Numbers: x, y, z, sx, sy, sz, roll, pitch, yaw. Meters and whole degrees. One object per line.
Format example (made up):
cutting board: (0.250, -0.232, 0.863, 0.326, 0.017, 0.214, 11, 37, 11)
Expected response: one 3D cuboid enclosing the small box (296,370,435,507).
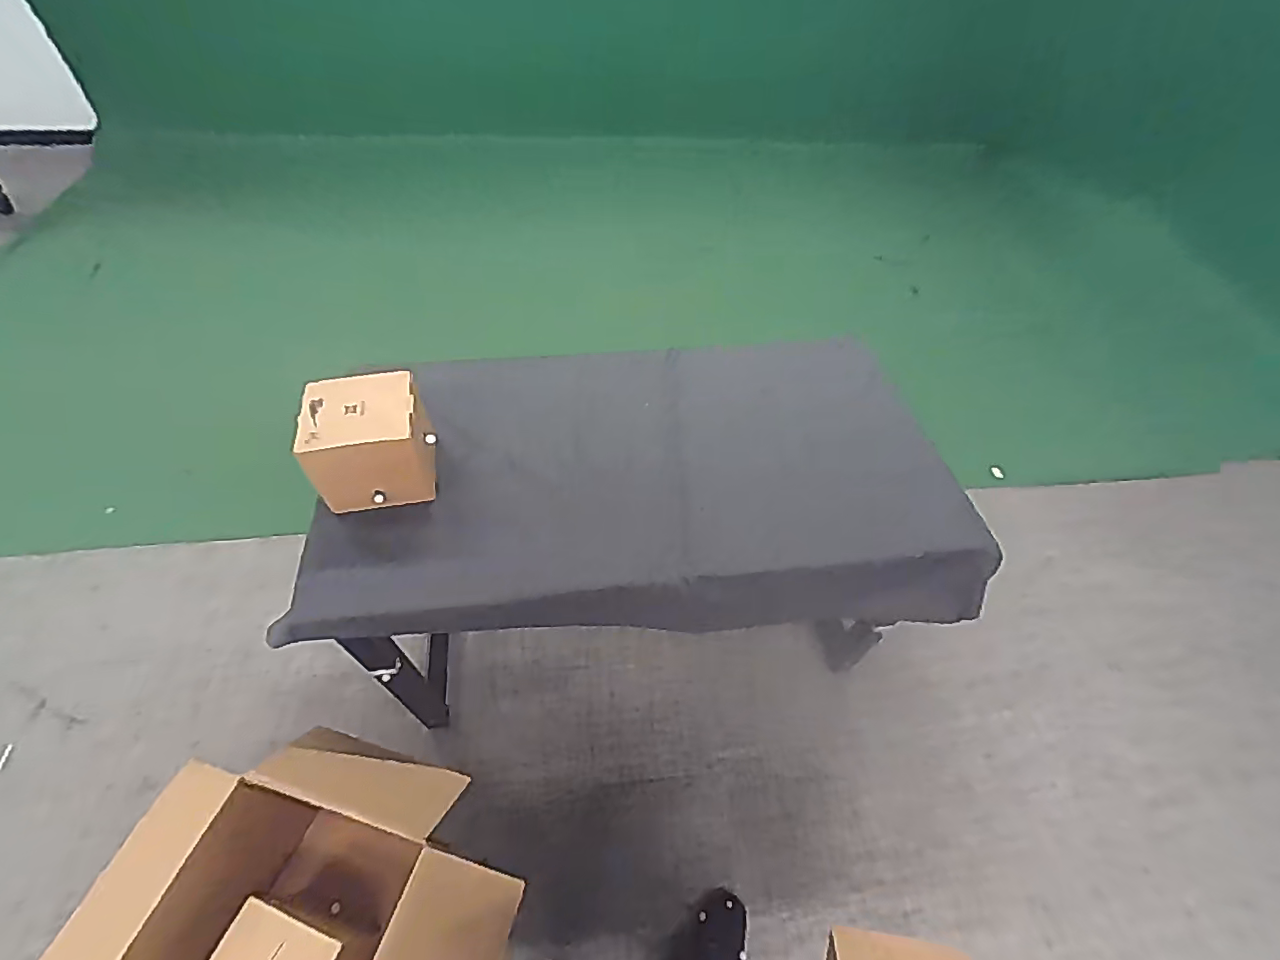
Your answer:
small box: (-0.468, -0.071, 0.956, 0.179, 0.176, 0.168, -8, 53, -11)
